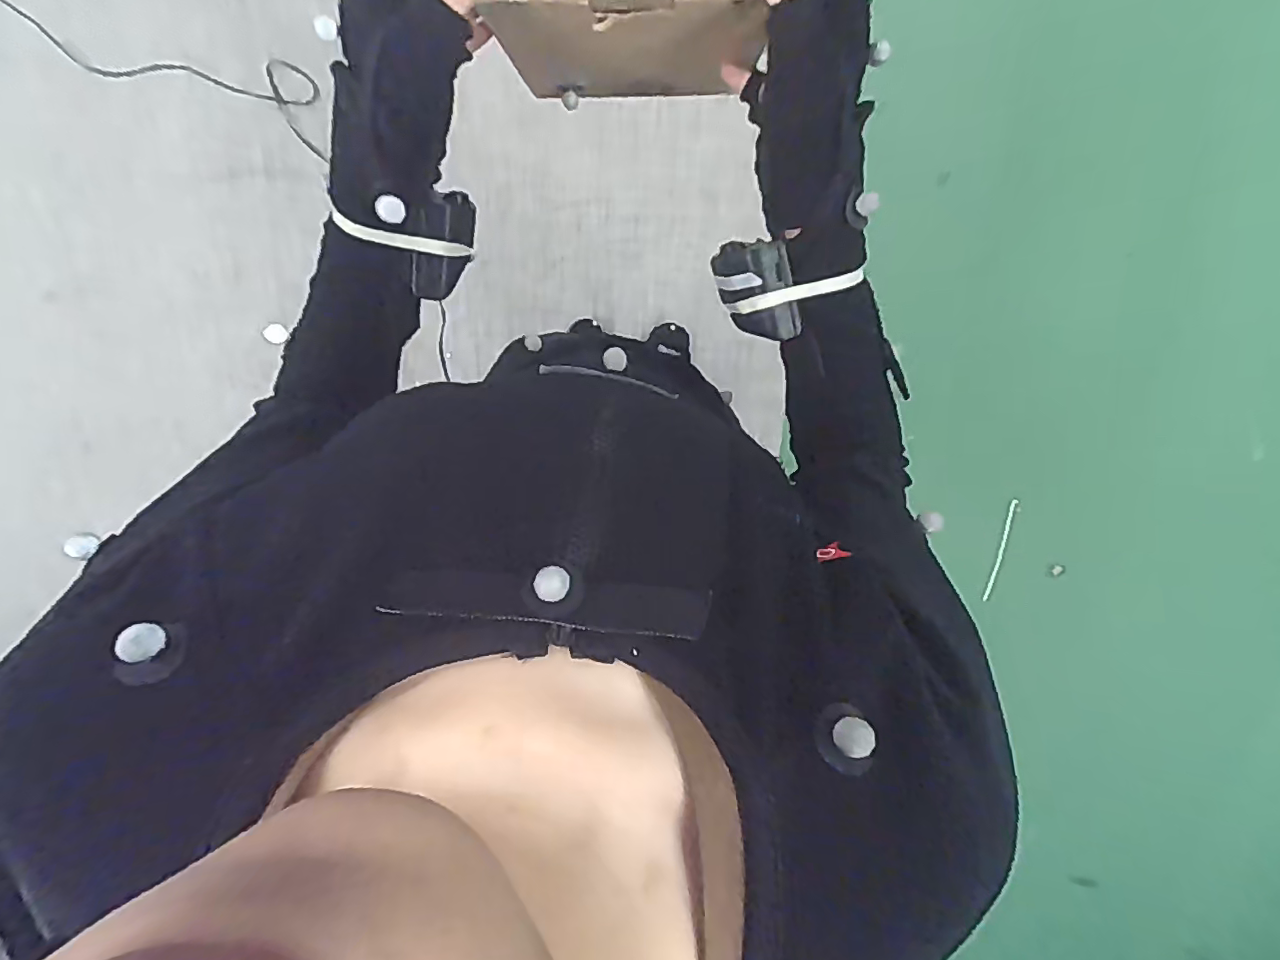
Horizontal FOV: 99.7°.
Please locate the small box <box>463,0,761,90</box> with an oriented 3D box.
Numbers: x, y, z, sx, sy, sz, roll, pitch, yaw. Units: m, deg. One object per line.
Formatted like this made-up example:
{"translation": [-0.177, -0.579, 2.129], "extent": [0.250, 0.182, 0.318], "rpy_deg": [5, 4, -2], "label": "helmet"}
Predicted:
{"translation": [-0.009, -0.353, 0.318], "extent": [0.168, 0.176, 0.179], "rpy_deg": [0, 110, 1], "label": "small box"}
